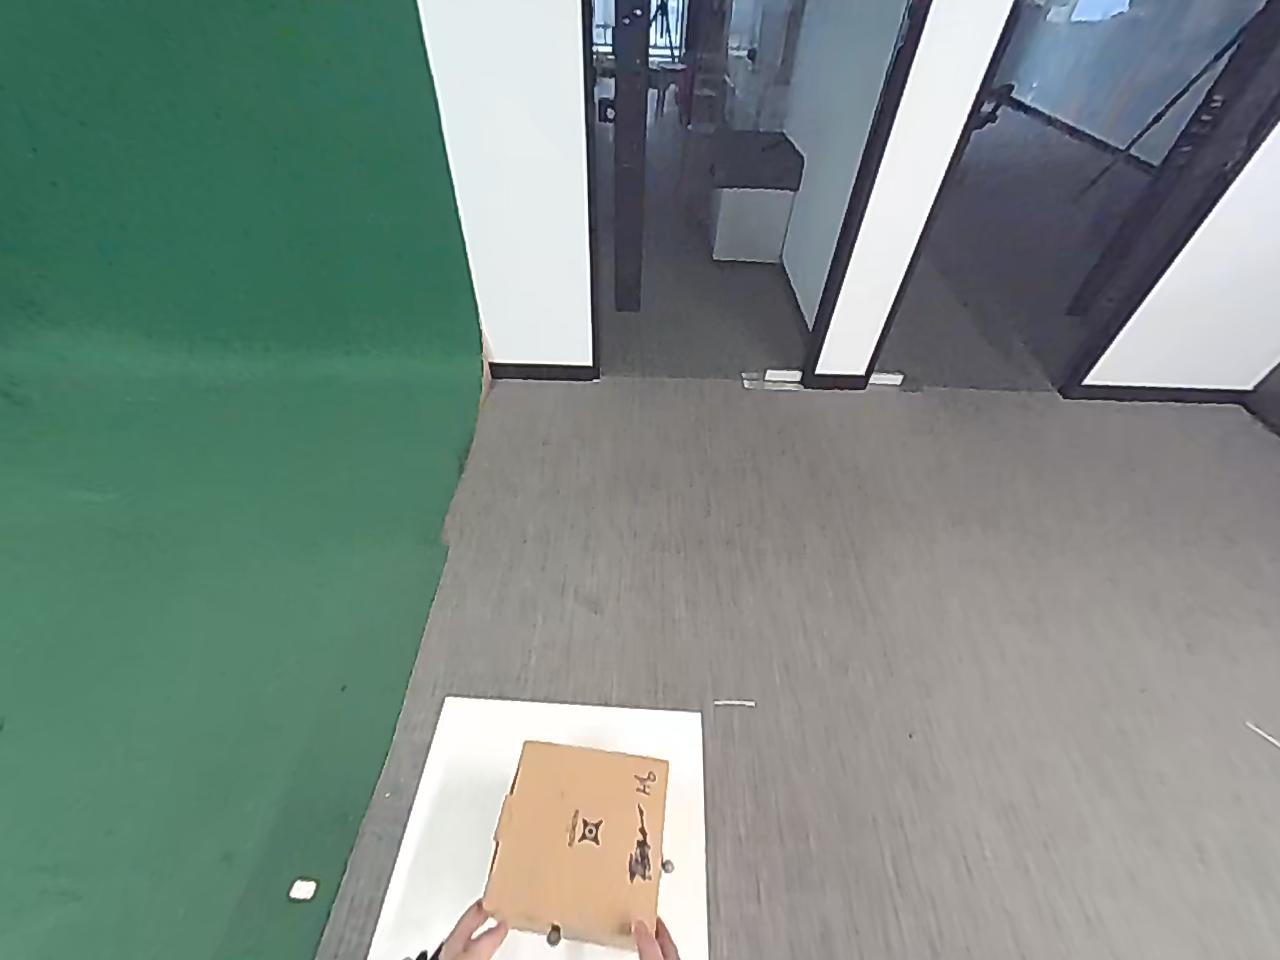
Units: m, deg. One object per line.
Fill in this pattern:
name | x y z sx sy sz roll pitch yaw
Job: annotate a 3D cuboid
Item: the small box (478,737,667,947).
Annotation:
small box | -0.067 0.429 0.639 0.179 0.176 0.168 7 46 4
